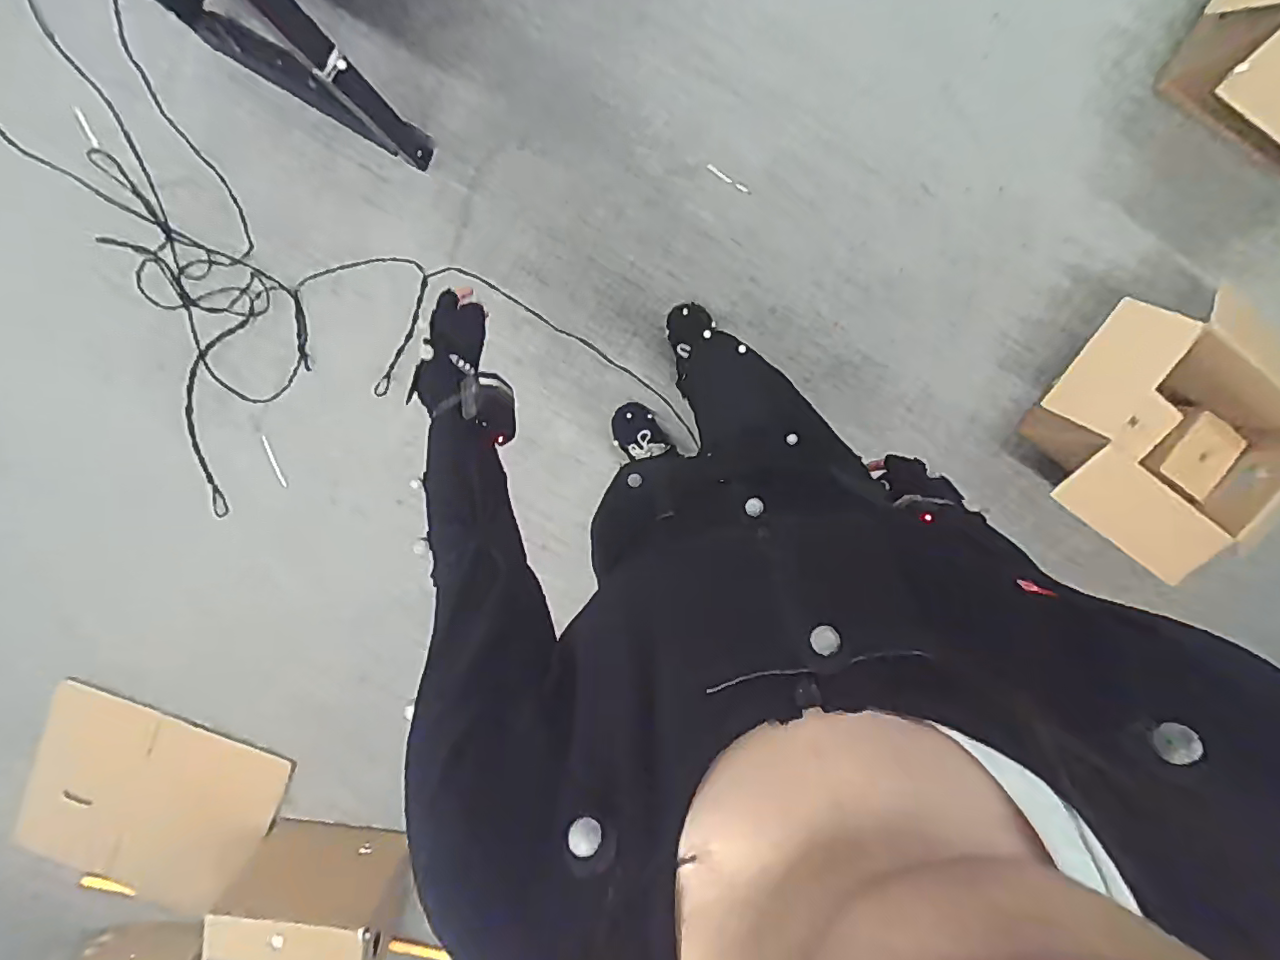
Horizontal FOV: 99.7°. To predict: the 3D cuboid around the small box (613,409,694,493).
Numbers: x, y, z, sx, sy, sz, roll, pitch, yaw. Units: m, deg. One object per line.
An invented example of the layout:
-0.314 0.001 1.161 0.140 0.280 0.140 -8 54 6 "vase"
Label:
0.033 -0.081 1.413 0.179 0.176 0.168 11 112 13 "small box"
